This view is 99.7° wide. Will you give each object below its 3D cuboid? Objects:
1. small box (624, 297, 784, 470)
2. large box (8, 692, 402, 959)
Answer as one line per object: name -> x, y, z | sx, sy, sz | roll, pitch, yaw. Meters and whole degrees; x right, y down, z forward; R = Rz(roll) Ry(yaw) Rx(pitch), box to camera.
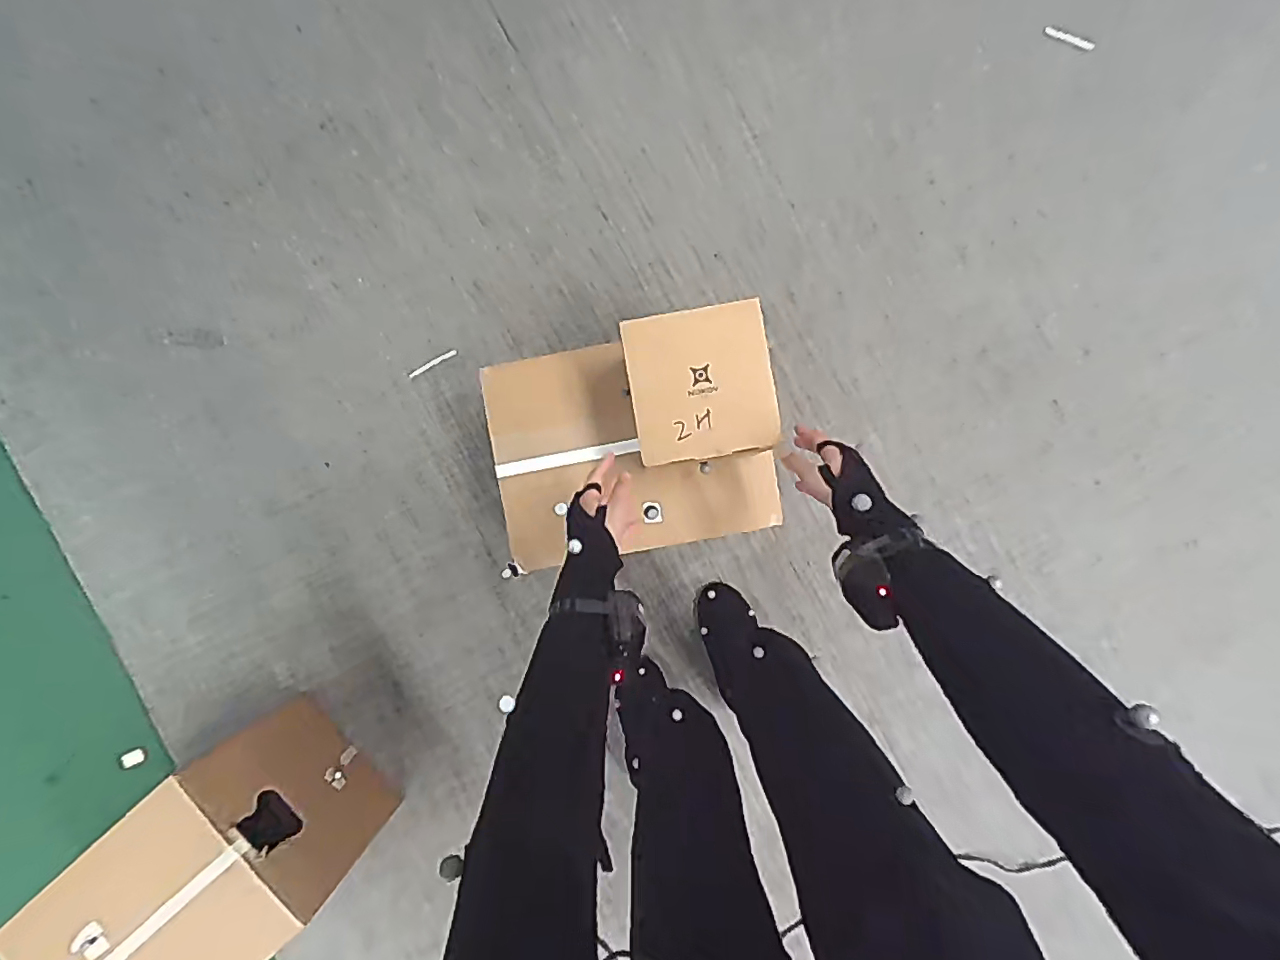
small box -> 0.074, -0.113, 0.701 | 0.168, 0.176, 0.179 | -9, 89, 2
large box -> -0.735, 0.680, 0.980 | 0.408, 0.320, 0.320 | -42, 88, 3
